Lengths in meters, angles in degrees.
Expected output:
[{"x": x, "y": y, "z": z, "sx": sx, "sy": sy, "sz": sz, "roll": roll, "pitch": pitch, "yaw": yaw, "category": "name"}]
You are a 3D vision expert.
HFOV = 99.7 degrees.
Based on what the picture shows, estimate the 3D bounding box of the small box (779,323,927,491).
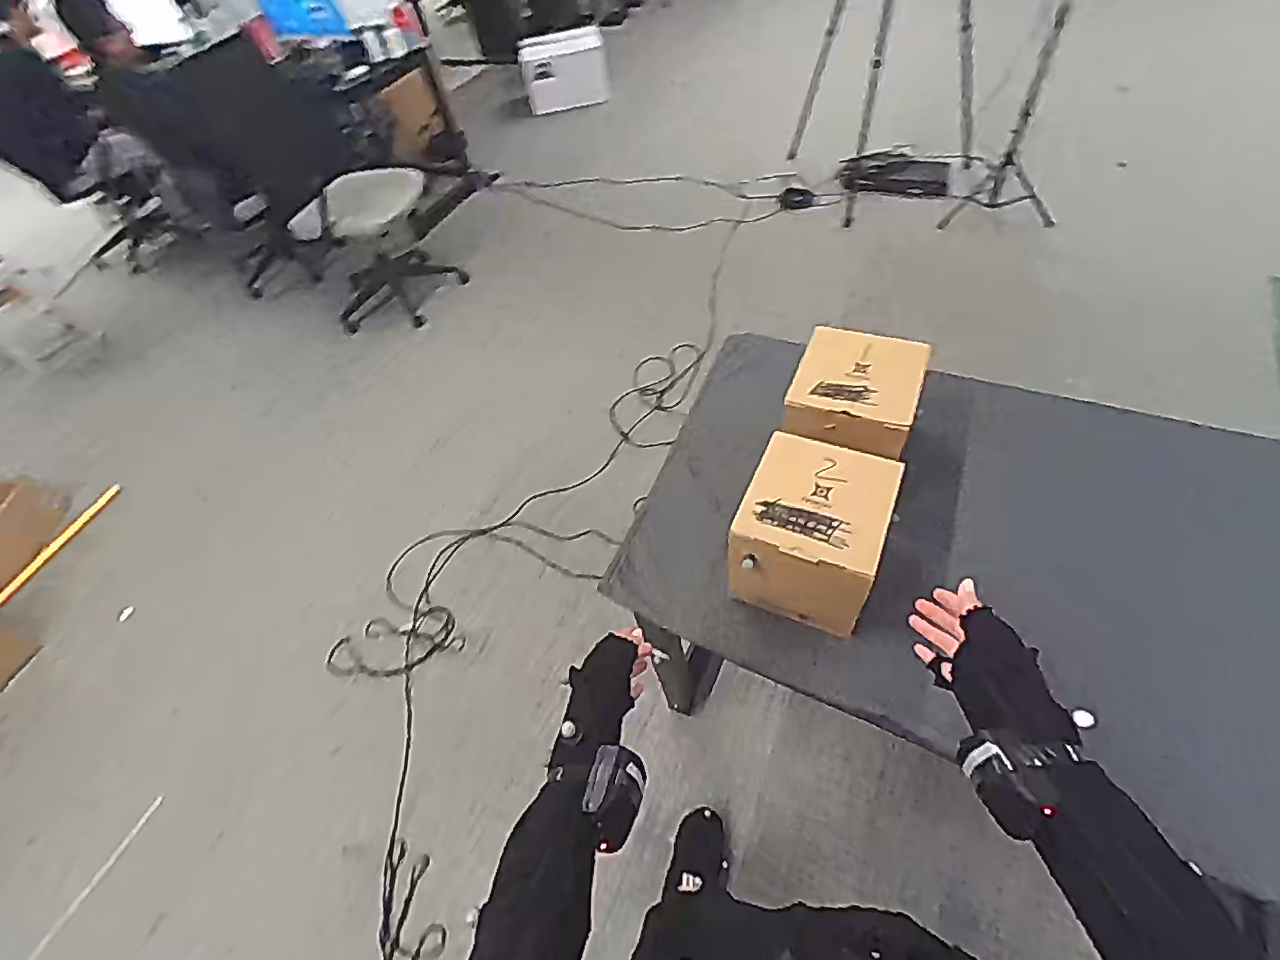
[{"x": 0.318, "y": -0.109, "z": 0.829, "sx": 0.168, "sy": 0.176, "sz": 0.179, "roll": 17, "pitch": 58, "yaw": 21, "category": "small box"}]
